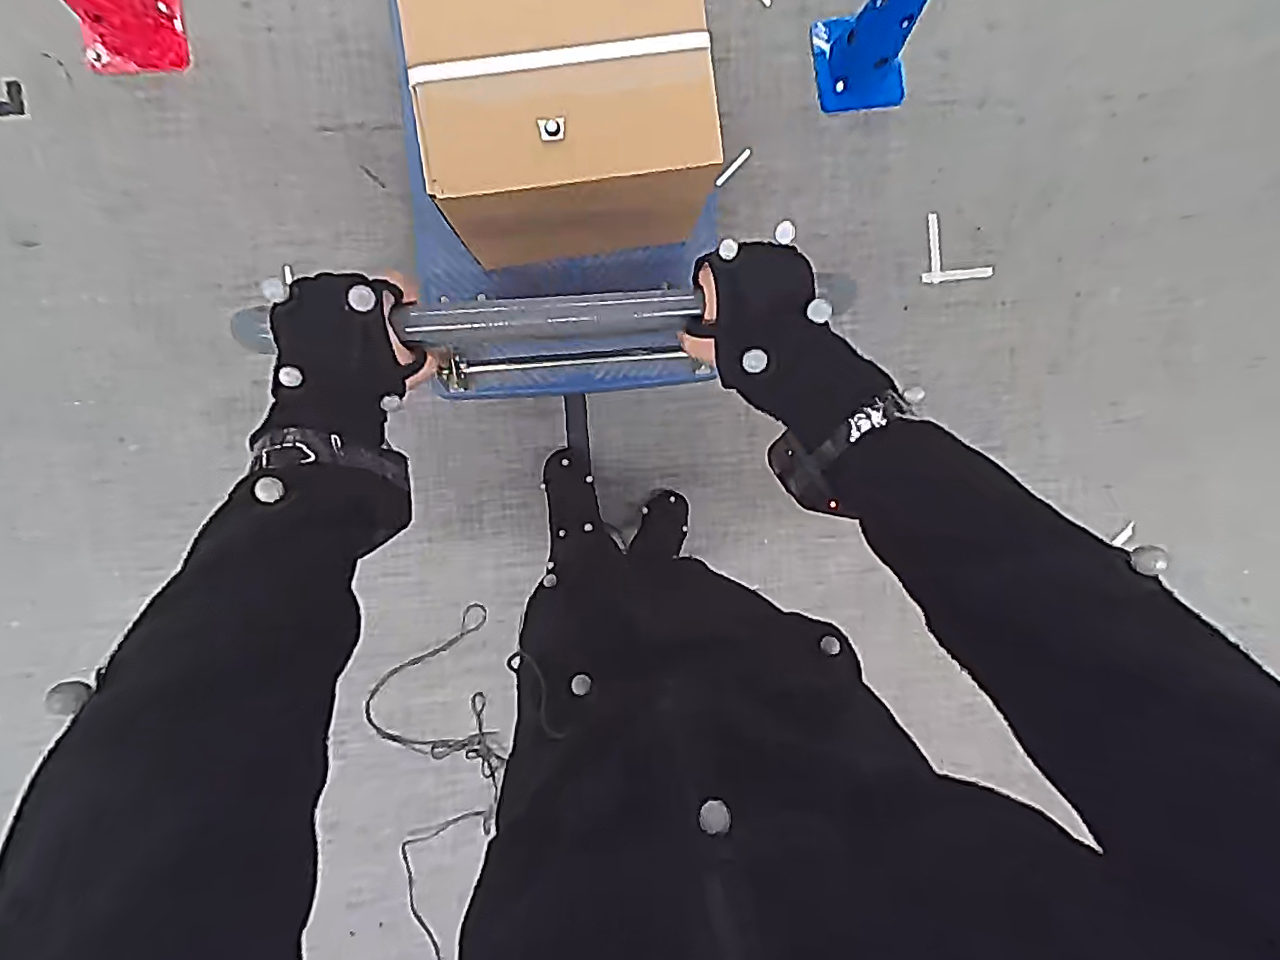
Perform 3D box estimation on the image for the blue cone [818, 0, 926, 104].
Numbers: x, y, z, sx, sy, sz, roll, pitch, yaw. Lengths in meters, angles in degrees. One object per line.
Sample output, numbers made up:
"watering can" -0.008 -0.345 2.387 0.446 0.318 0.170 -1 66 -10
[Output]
"blue cone" 0.511 -0.936 1.047 0.193 0.380 0.192 -8 94 -4
